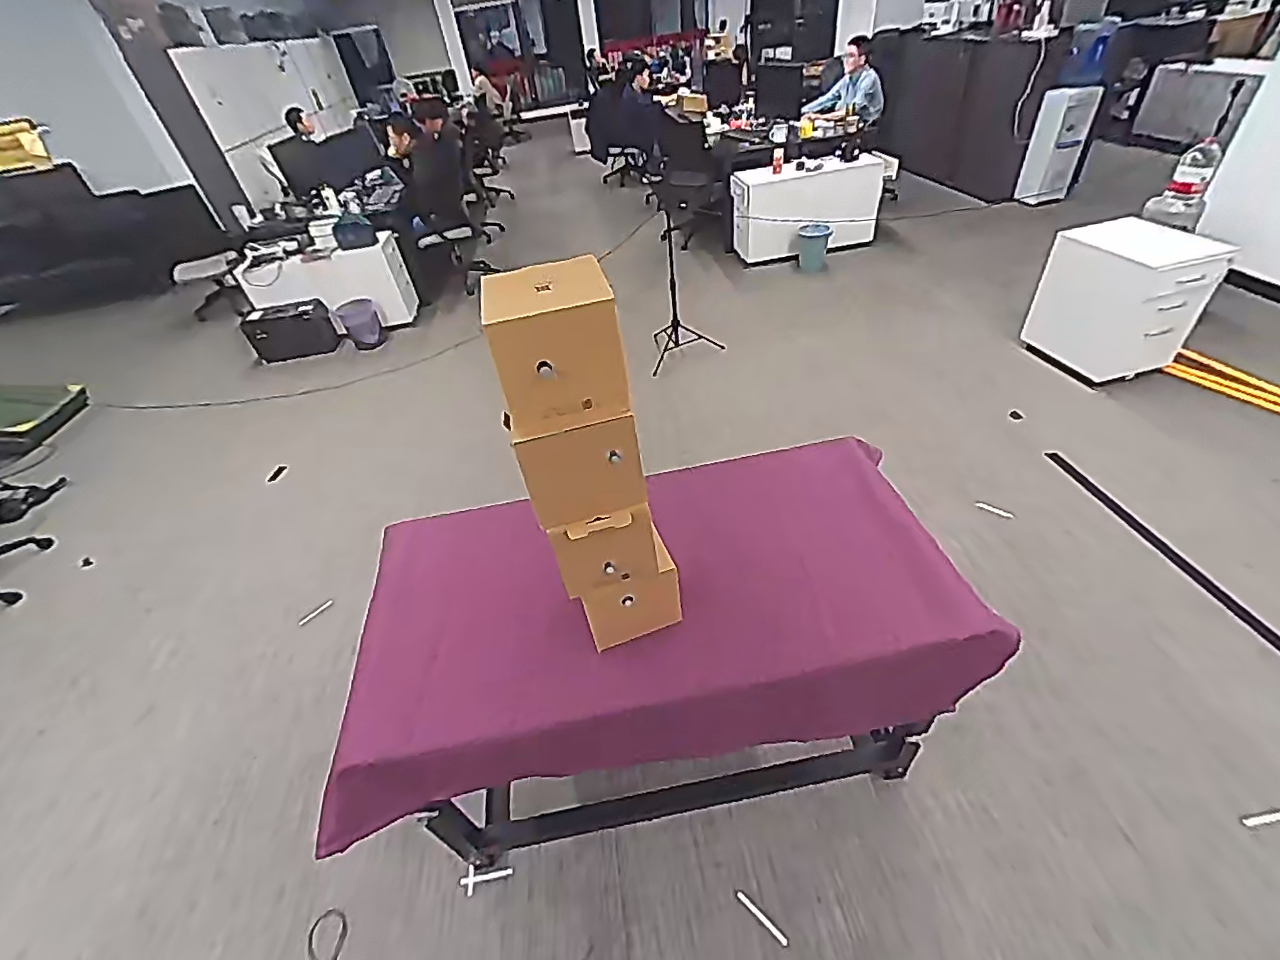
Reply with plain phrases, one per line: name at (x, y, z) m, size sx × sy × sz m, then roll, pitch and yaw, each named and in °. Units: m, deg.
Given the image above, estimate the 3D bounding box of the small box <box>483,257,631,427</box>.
small box at (-0.114, -0.190, 0.763) m, size 0.168 × 0.176 × 0.179 m, roll -13°, pitch 40°, yaw -5°

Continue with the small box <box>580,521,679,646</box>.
small box at (-0.033, 0.196, 1.060) m, size 0.179 × 0.176 × 0.168 m, roll -17°, pitch 42°, yaw -10°

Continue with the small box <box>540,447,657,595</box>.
small box at (-0.074, 0.072, 0.956) m, size 0.168 × 0.176 × 0.179 m, roll -14°, pitch 41°, yaw -5°
